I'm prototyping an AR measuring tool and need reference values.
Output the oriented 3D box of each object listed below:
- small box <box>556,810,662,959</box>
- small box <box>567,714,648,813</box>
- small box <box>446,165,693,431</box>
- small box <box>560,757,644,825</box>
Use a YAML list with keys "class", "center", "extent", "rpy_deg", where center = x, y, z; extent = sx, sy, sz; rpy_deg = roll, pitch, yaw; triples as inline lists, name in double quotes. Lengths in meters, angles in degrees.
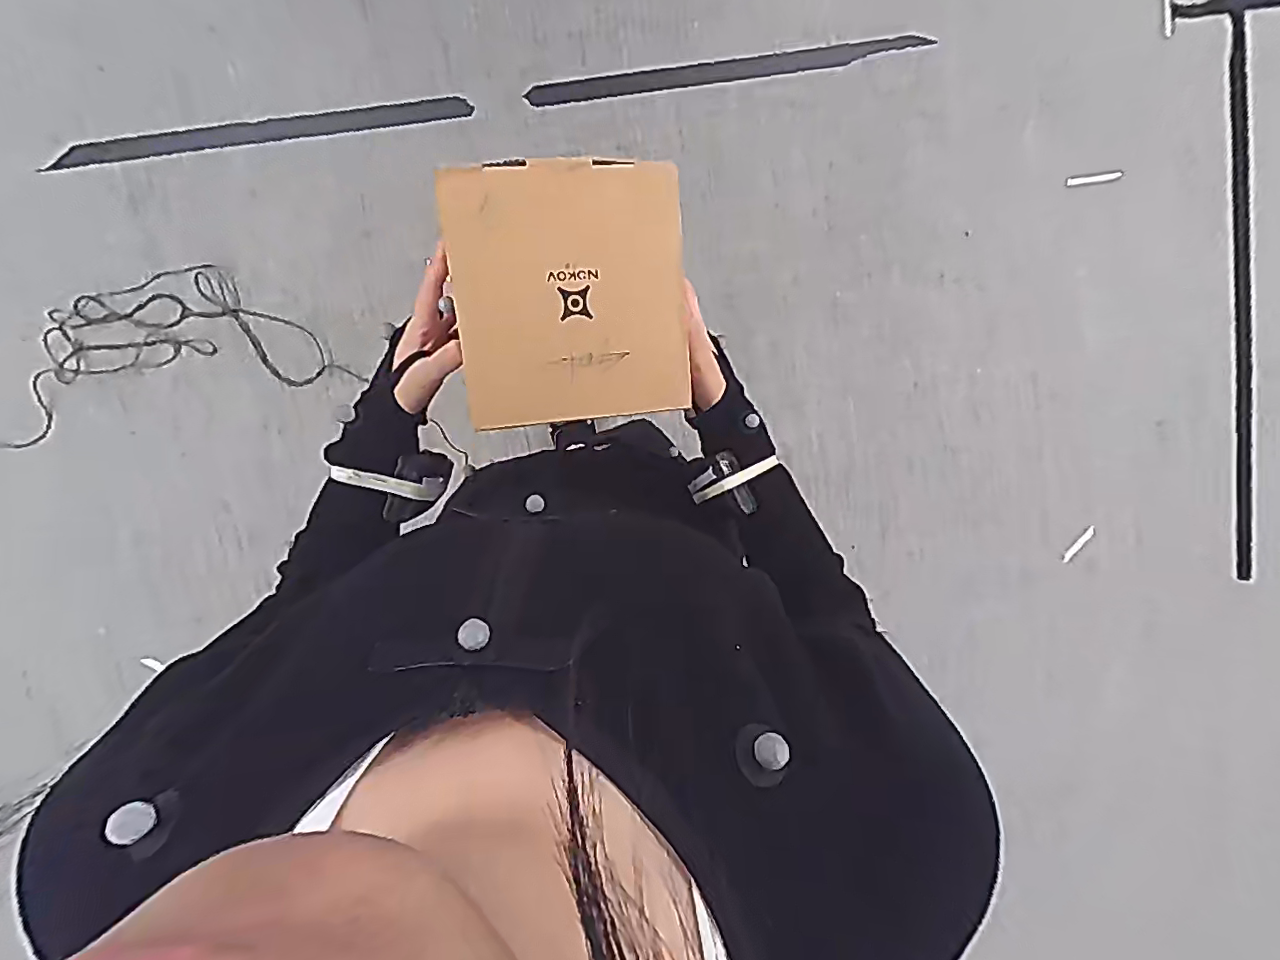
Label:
- class: "small box"
  center: [-0.060, 0.751, 1.009]
  extent: [0.168, 0.176, 0.179]
  rpy_deg: [-10, 99, -4]
- class: "small box"
  center: [-0.082, 0.703, 1.333]
  extent: [0.179, 0.176, 0.168]
  rpy_deg: [-8, 97, -4]
- class: "small box"
  center: [-0.061, -0.143, 0.458]
  extent: [0.168, 0.176, 0.179]
  rpy_deg: [-6, 104, -11]
- class: "small box"
  center: [-0.077, 0.728, 1.171]
  extent: [0.168, 0.176, 0.179]
  rpy_deg: [-9, 97, -3]
